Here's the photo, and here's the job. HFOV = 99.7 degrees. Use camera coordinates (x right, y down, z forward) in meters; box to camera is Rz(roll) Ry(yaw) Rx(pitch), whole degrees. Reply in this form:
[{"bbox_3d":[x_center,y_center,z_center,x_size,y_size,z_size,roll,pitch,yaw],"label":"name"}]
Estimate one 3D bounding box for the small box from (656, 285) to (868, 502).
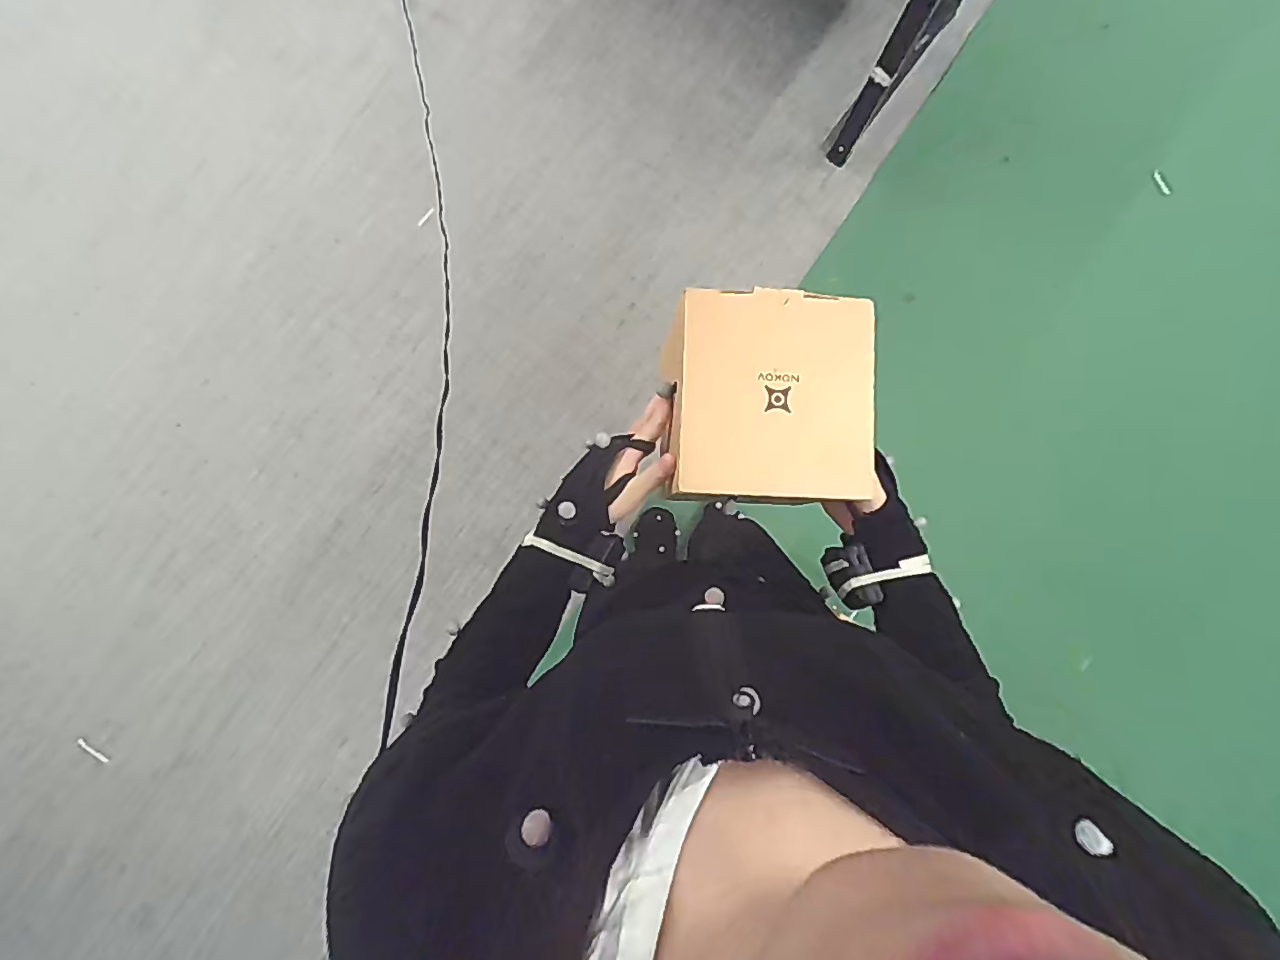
[{"bbox_3d":[0.107,-0.069,0.534,0.168,0.176,0.179,2,84,-3],"label":"small box"}]
